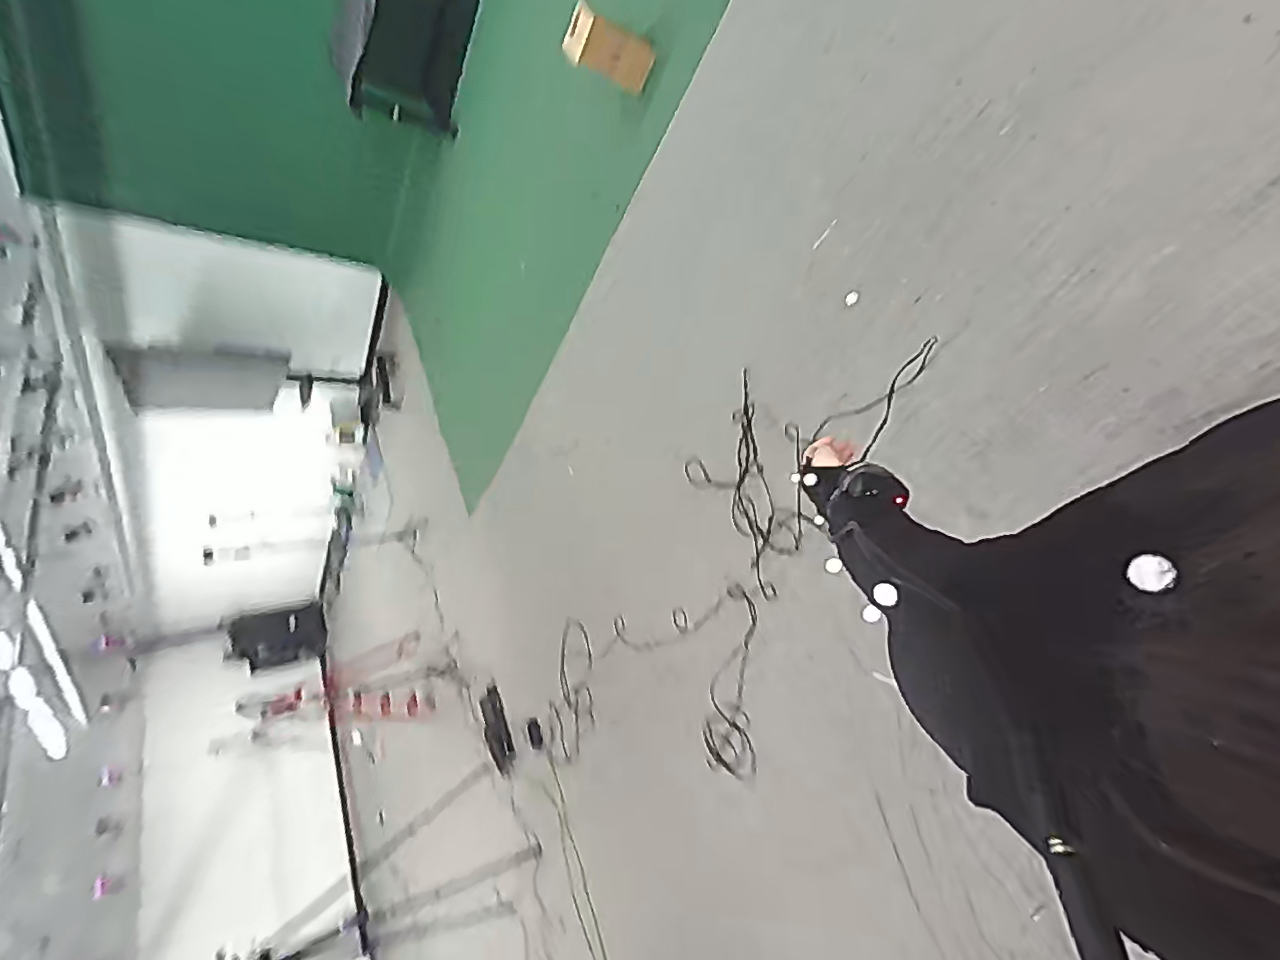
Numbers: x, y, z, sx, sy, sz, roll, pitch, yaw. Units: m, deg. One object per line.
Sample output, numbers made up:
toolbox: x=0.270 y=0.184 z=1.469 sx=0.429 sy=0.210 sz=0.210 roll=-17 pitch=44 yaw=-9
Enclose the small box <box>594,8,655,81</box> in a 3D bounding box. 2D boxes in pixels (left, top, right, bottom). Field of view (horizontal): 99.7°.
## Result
small box: x=-0.064 y=-1.851 z=2.308 sx=0.168 sy=0.176 sz=0.179 roll=-52 pitch=54 yaw=41
